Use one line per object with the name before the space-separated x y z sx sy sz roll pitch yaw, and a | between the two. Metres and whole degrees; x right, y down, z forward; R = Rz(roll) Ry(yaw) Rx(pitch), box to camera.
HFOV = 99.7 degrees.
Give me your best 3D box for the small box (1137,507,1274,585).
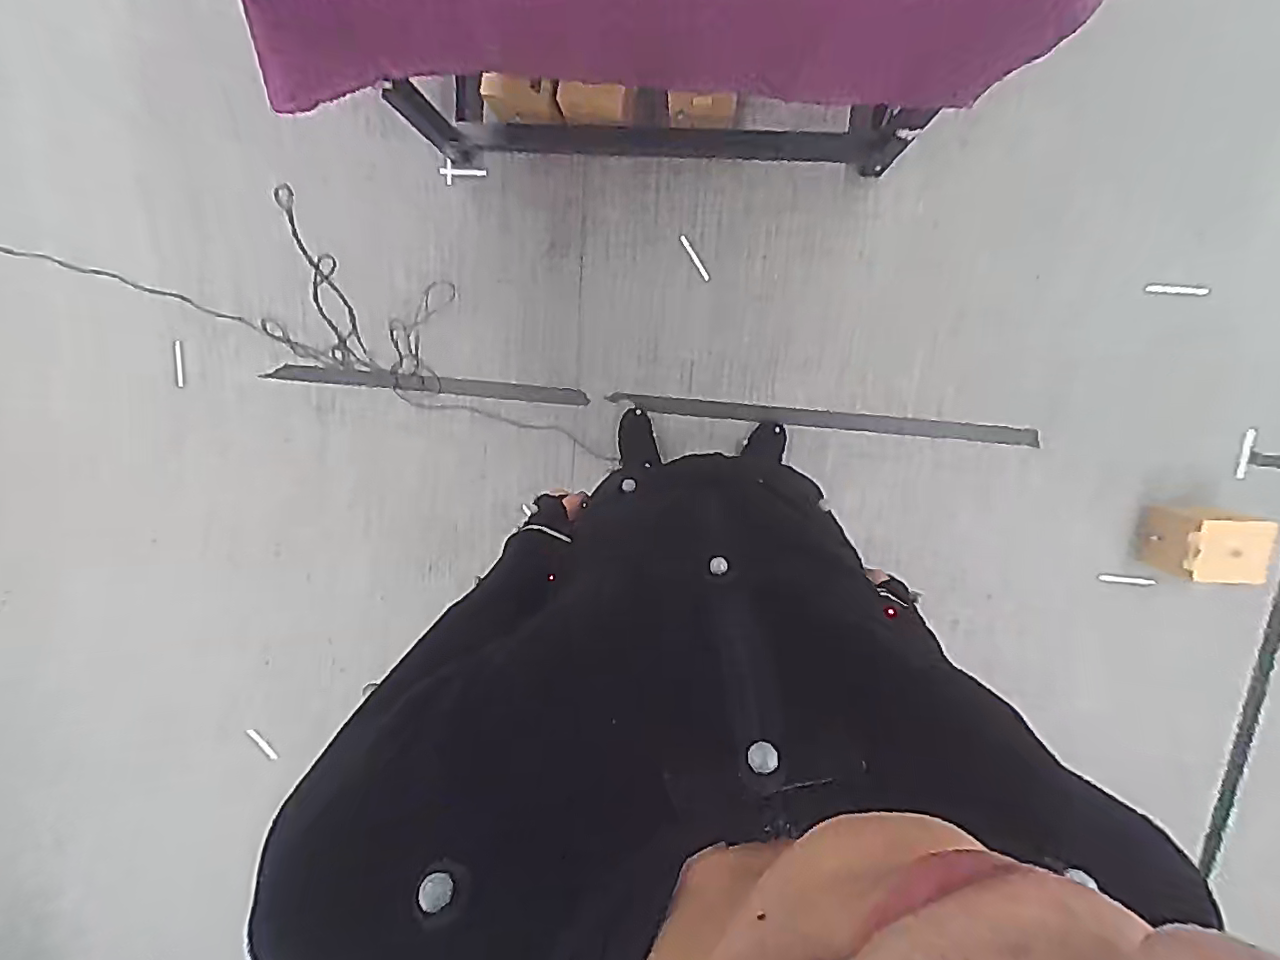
small box | 1.502 0.172 1.448 0.179 0.176 0.168 2 100 6
